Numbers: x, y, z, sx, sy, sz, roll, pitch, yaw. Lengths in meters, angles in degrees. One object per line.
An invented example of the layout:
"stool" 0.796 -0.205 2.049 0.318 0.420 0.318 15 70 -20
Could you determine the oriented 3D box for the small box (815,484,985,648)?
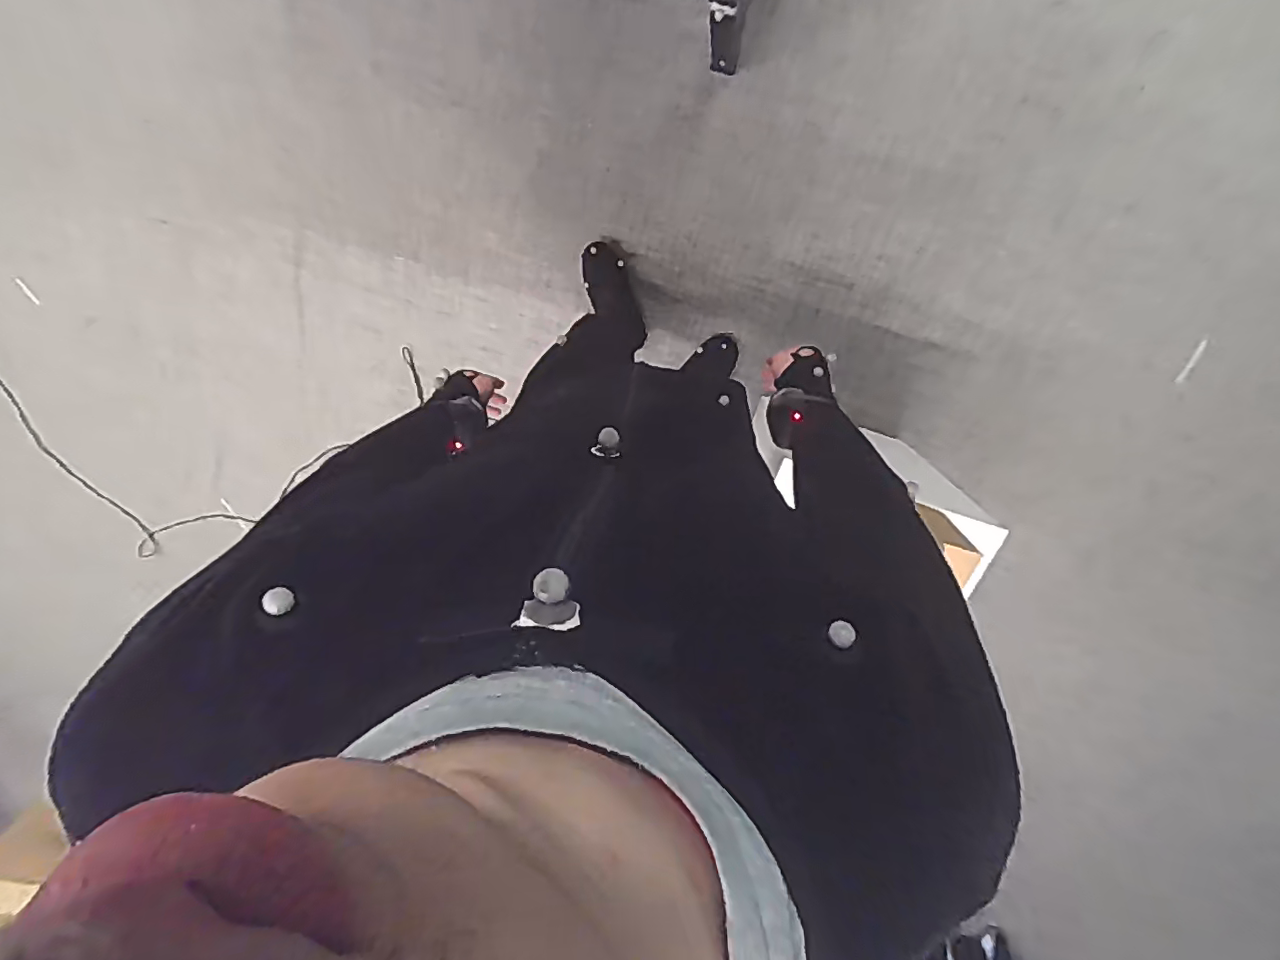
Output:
"small box" 0.396 0.130 0.865 0.168 0.176 0.179 15 110 -1
